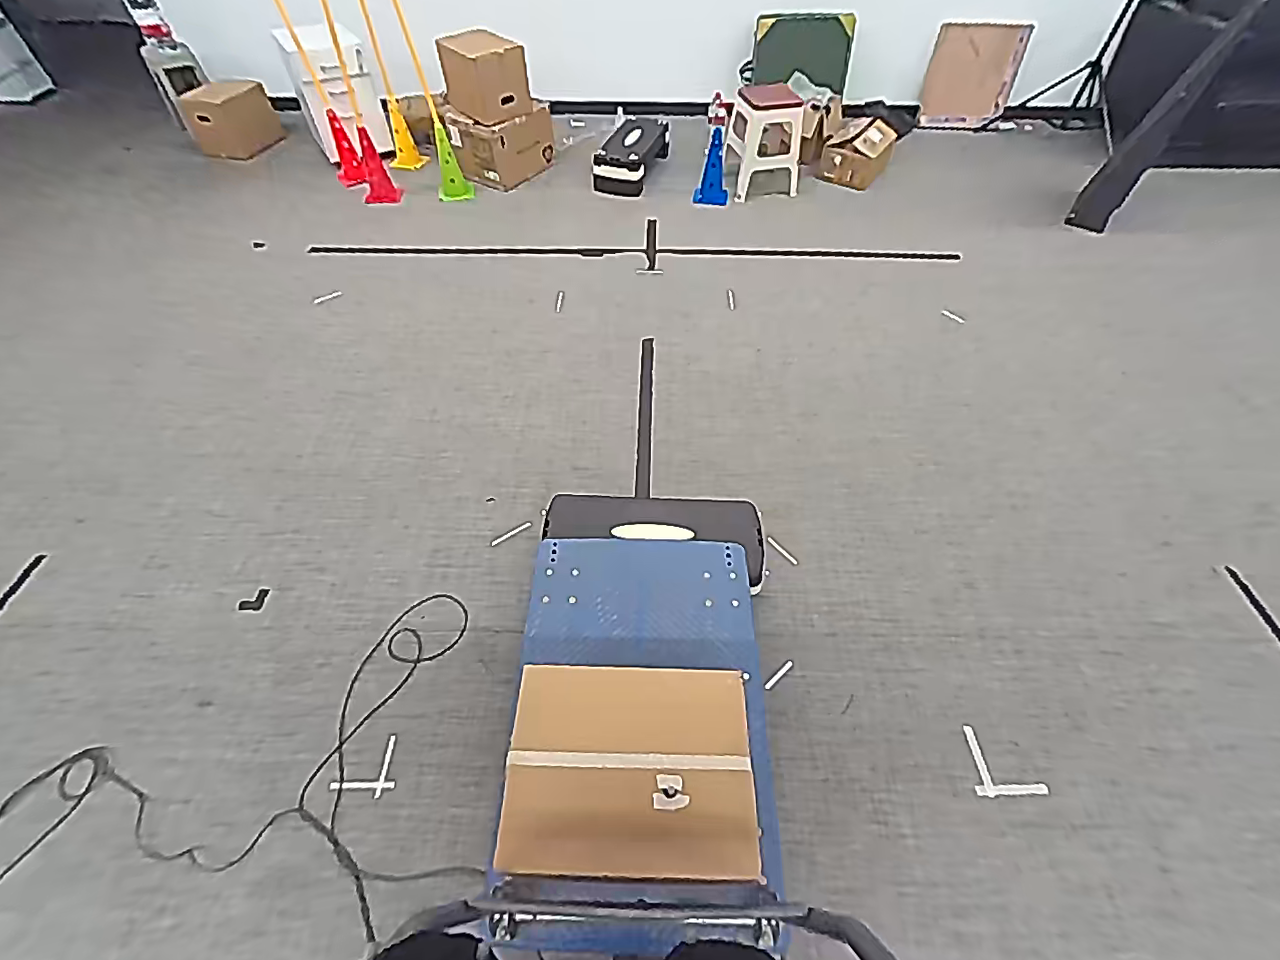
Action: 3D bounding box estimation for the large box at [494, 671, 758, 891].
[{"bbox_3d":[-0.025,0.567,1.010,0.408,0.320,0.320,2,52,0],"label":"large box"}]
